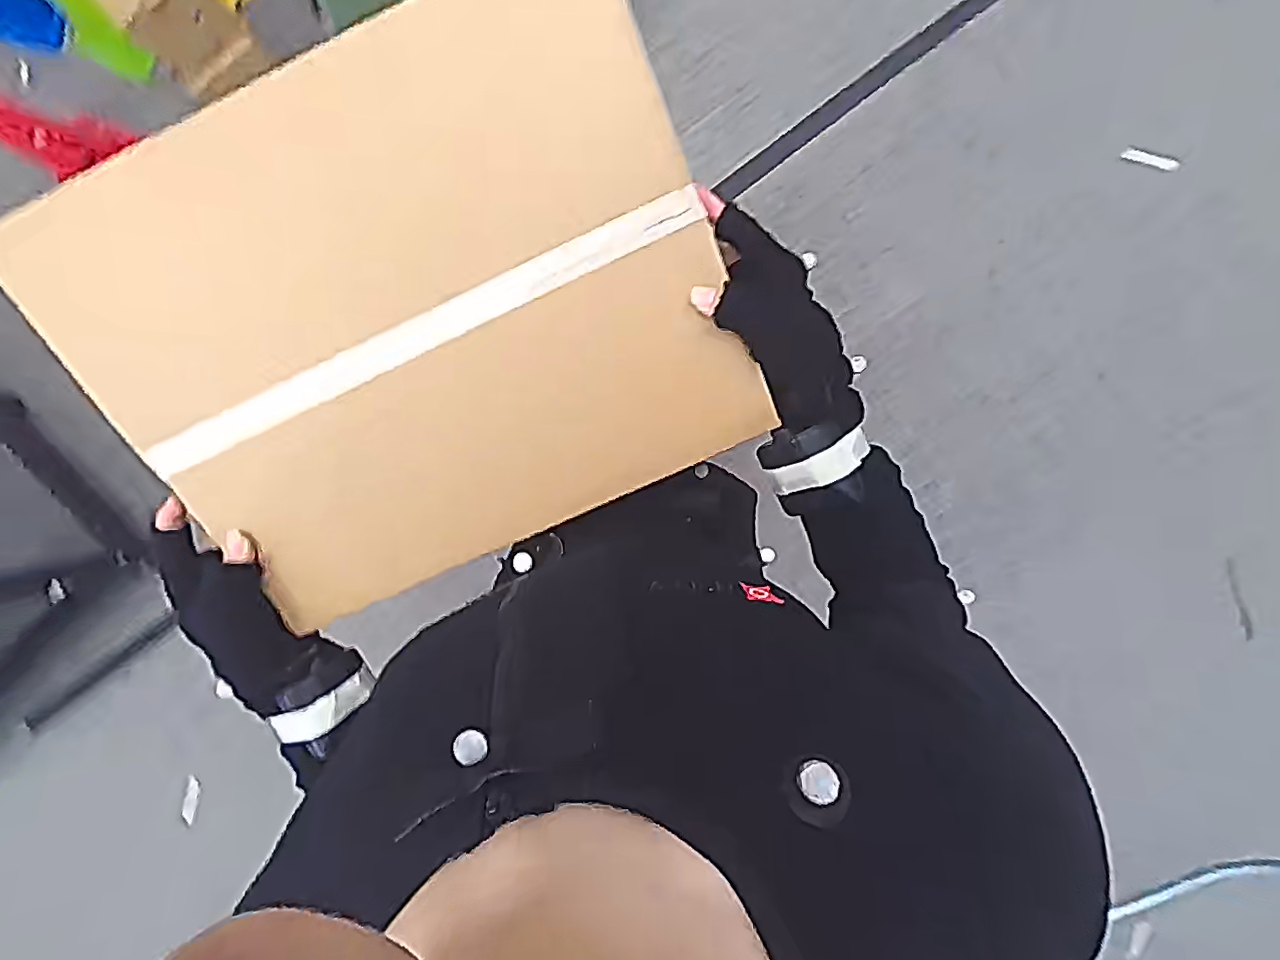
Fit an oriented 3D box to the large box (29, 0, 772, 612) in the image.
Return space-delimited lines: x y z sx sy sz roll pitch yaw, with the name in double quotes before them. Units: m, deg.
"large box" -0.150 -0.150 0.504 0.408 0.320 0.320 -23 110 5
